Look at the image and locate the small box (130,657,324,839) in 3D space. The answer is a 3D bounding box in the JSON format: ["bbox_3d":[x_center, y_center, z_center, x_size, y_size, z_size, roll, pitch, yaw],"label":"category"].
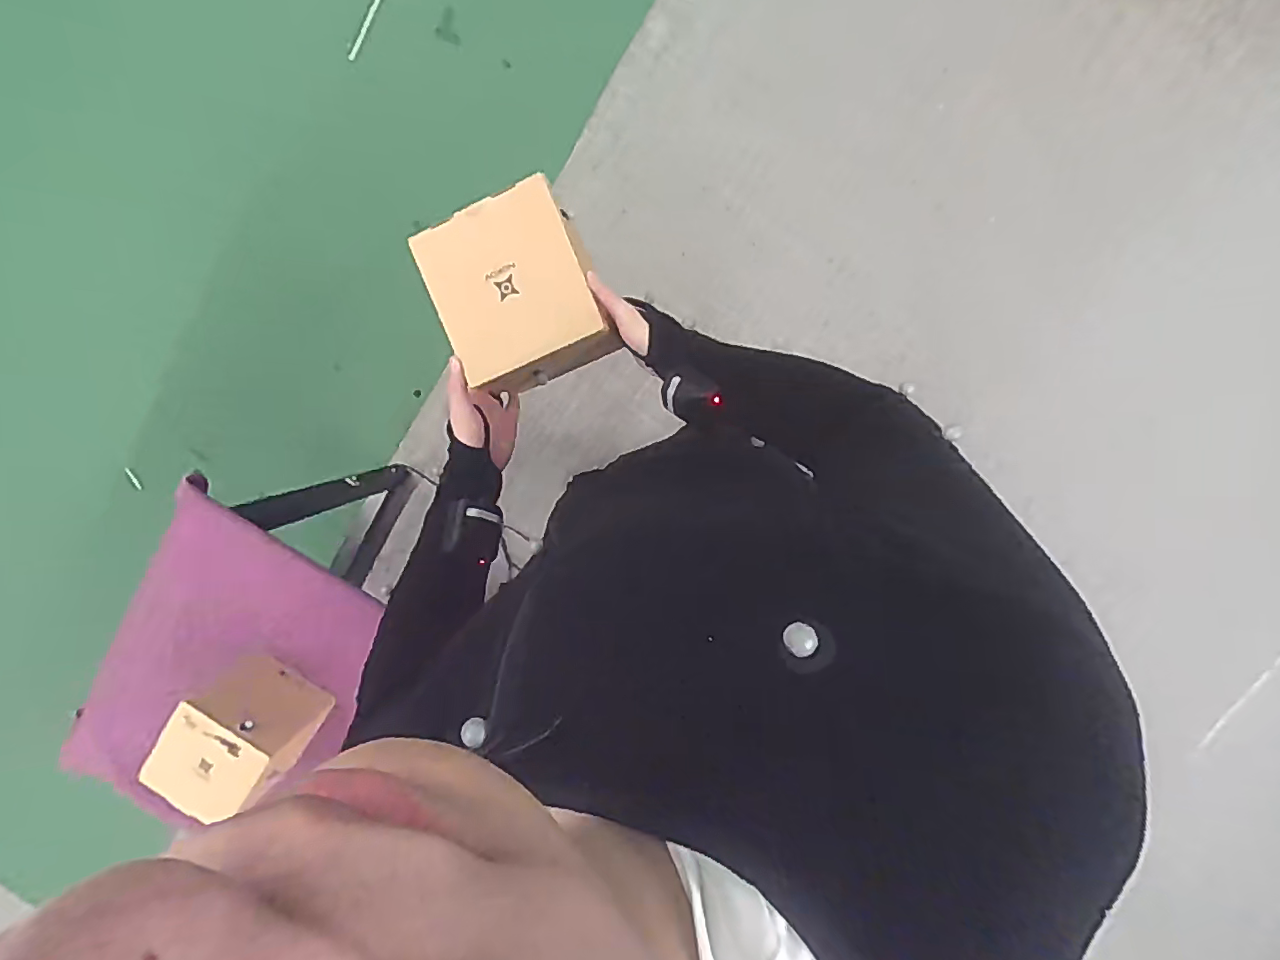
[{"bbox_3d":[-0.683,0.442,0.915,0.168,0.176,0.179,35,100,-3],"label":"small box"}]

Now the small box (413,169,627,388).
[{"bbox_3d":[-0.125,-0.218,0.641,0.168,0.176,0.179,-21,94,8],"label":"small box"}]
